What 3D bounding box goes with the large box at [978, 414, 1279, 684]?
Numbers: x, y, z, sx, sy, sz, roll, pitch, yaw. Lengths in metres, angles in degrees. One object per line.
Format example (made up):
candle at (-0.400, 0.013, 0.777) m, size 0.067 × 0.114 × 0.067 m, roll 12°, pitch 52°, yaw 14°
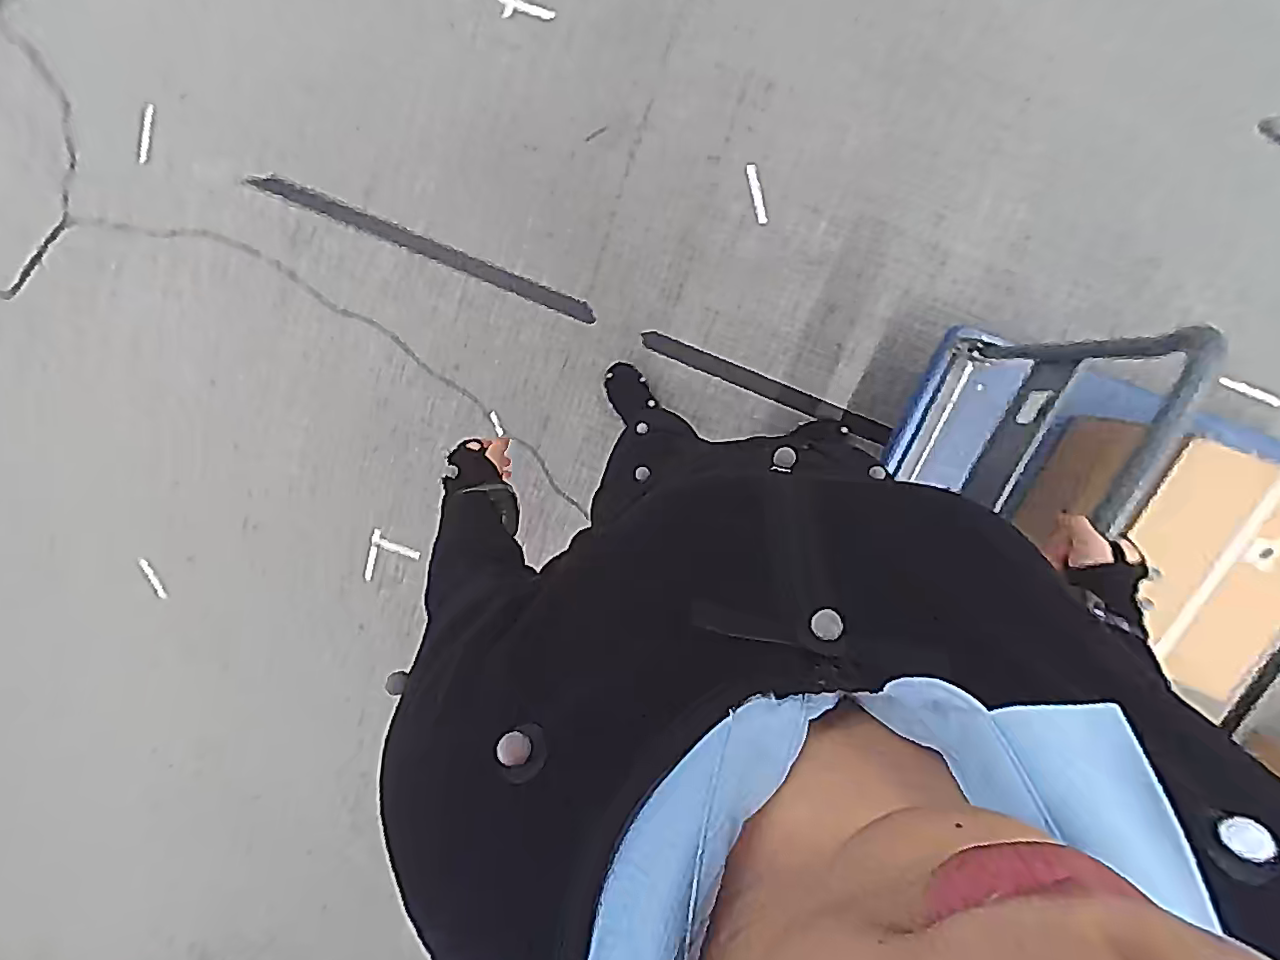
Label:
large box at (0.994, 0.116, 1.103) m, size 0.320 × 0.320 × 0.408 m, roll 22°, pitch 103°, yaw 1°
